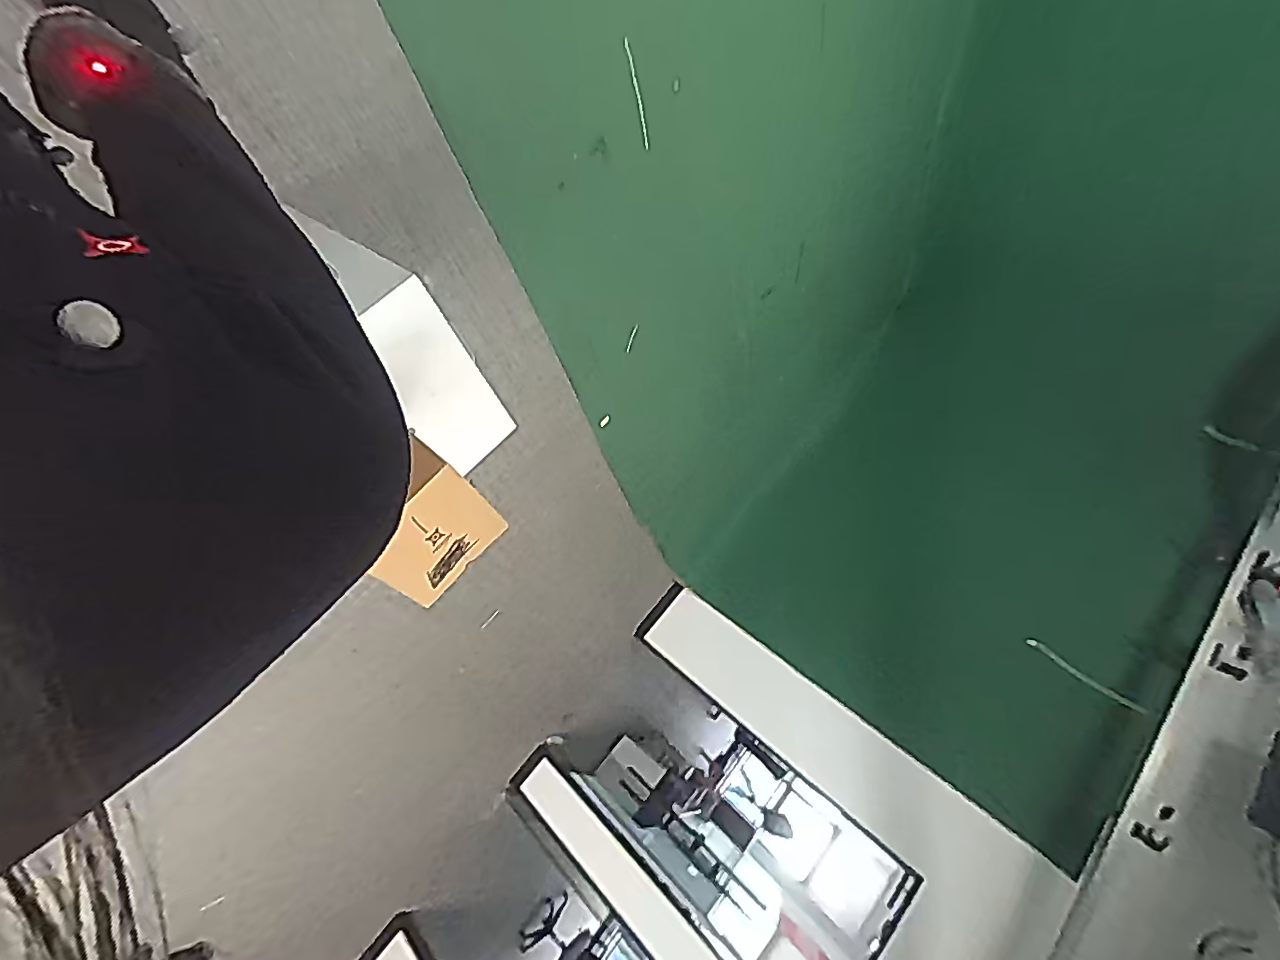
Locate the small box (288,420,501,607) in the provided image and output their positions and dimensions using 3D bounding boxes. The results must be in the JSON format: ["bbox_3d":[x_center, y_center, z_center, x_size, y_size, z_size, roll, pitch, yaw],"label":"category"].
[{"bbox_3d":[-0.336,0.045,0.757,0.168,0.176,0.179,-49,151,-13],"label":"small box"}]
